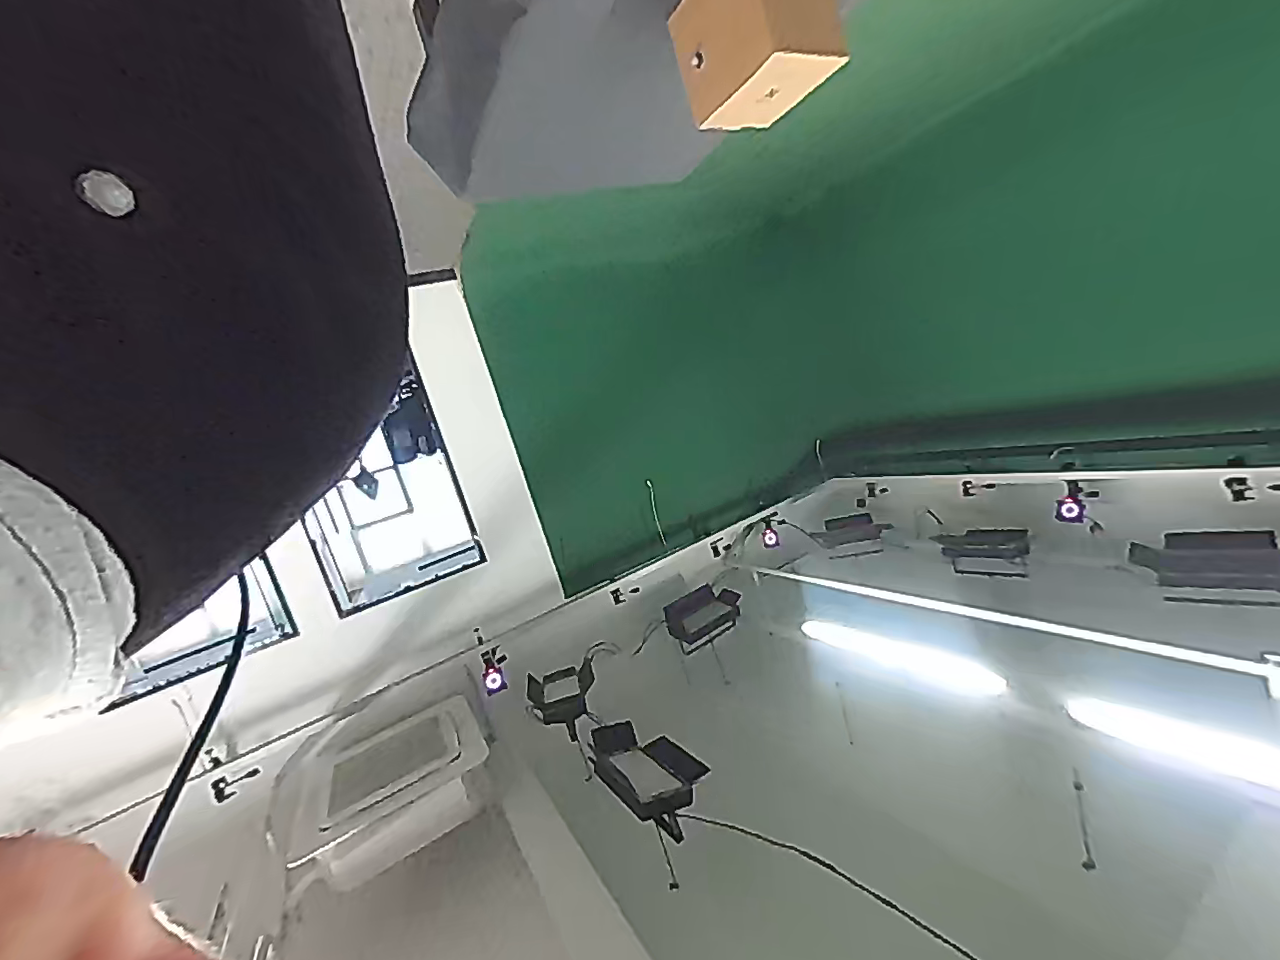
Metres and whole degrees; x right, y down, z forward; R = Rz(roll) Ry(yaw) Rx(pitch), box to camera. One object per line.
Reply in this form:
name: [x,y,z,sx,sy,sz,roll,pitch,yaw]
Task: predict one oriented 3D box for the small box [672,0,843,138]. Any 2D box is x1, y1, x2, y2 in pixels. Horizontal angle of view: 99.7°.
small box: [0.168,-0.656,0.818,0.168,0.176,0.179,-24,-173,-28]
